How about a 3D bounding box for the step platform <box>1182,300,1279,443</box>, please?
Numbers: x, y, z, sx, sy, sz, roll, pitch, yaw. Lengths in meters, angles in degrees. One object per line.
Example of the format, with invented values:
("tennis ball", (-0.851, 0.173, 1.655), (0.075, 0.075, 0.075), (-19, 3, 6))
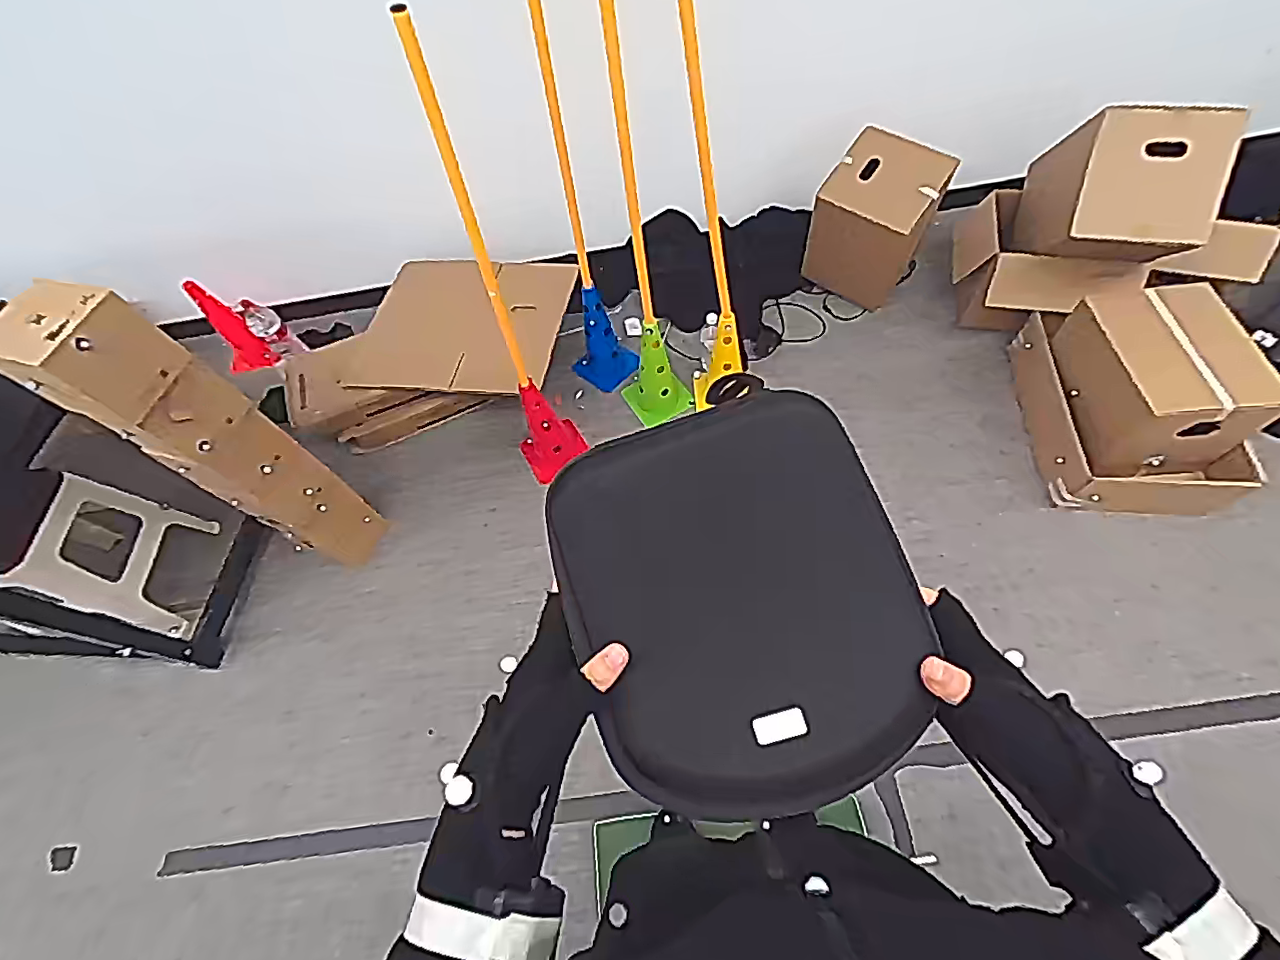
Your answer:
("step platform", (2.007, -0.409, 1.613), (0.684, 0.204, 0.286), (-35, 62, -12))
